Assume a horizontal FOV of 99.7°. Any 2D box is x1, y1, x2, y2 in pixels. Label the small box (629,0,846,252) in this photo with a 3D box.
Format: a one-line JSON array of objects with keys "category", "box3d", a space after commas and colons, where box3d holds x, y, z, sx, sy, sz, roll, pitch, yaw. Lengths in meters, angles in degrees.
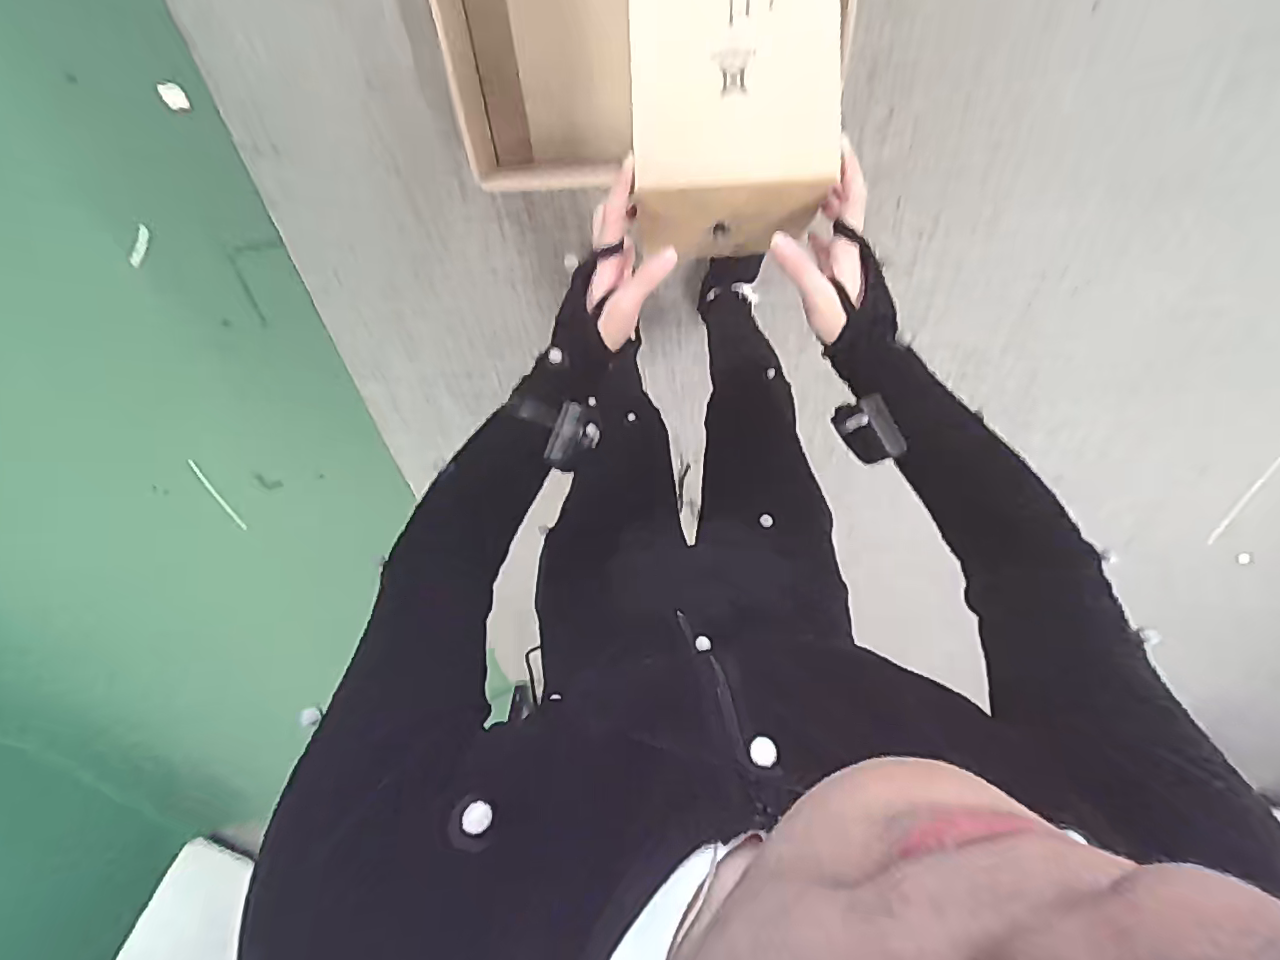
[{"category": "small box", "box3d": [0.079, -0.321, 0.494, 0.168, 0.176, 0.179, -1, 94, 3]}]
